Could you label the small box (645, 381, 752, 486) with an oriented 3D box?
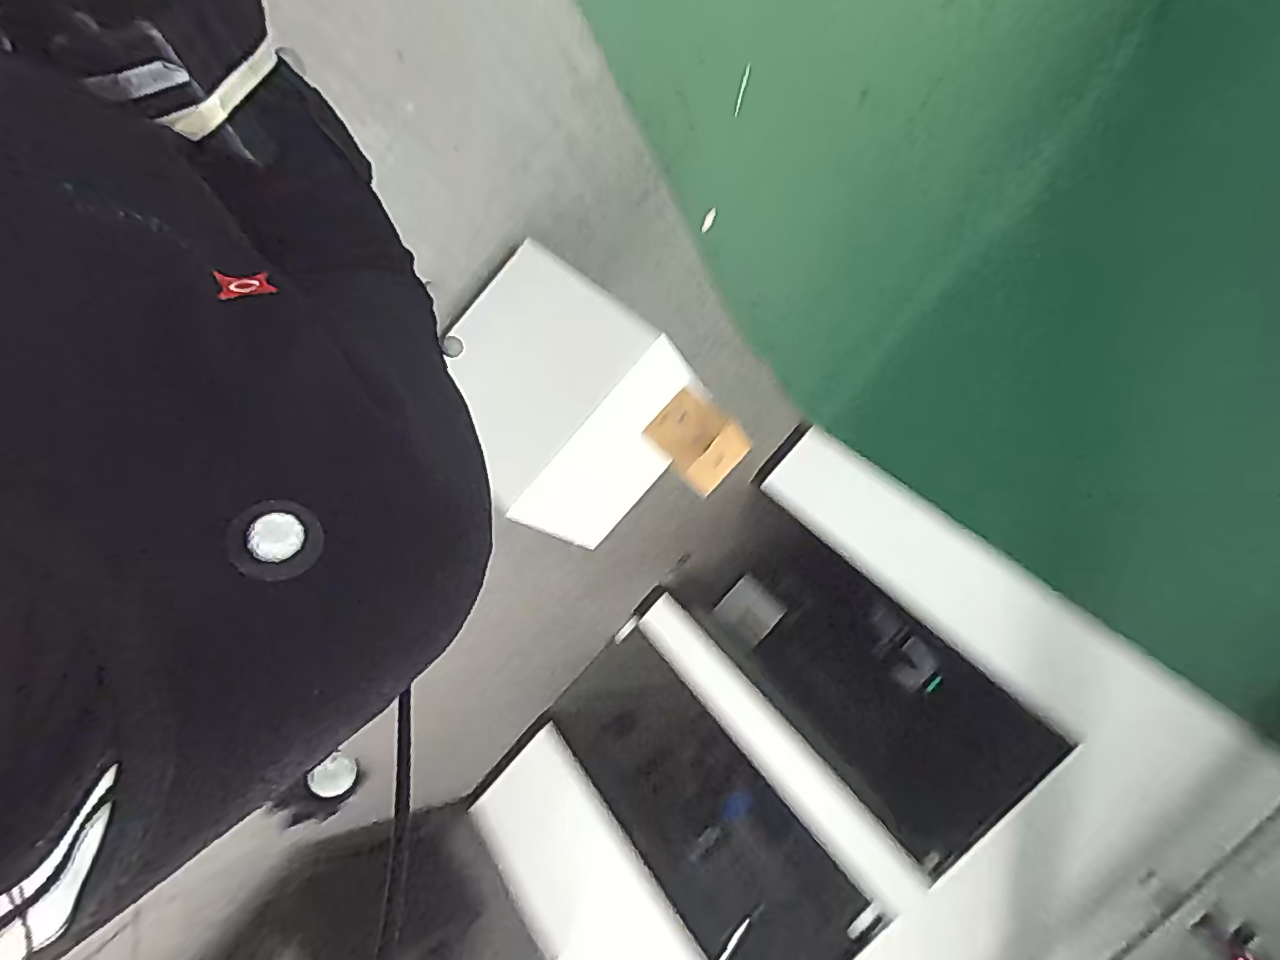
[{"bbox_3d":[0.146,-0.117,1.339,0.168,0.176,0.179,-48,149,5],"label":"small box"}]
